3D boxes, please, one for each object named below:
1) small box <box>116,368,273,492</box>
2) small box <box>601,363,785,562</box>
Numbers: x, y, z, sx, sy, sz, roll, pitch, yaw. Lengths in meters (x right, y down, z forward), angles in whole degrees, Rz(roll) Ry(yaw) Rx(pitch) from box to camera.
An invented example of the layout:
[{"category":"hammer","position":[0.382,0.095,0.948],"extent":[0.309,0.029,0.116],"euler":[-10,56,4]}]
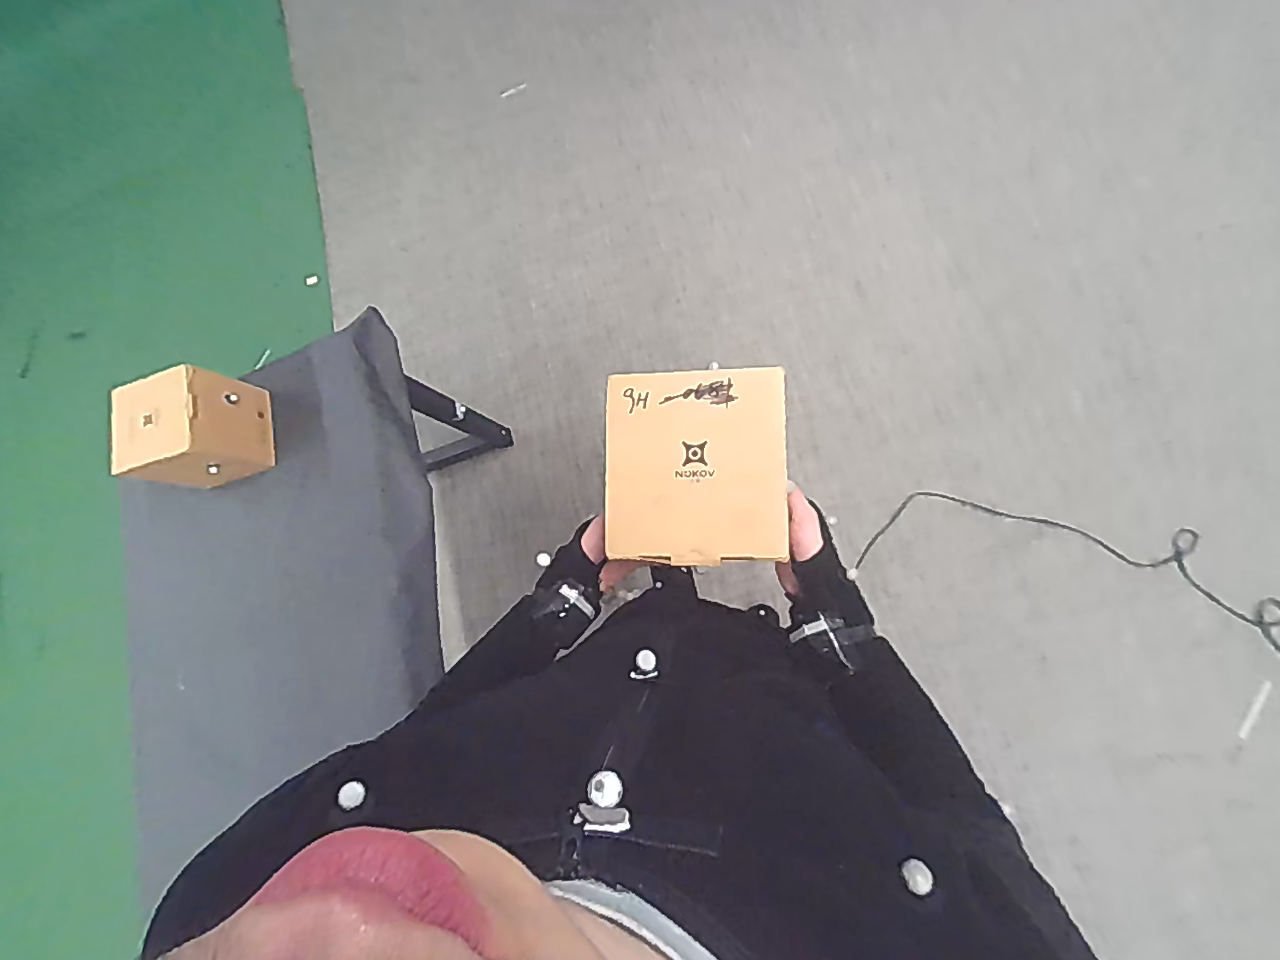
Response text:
[{"category":"small box","position":[-0.830,-0.086,1.023],"extent":[0.179,0.176,0.168],"euler":[-16,75,12]},{"category":"small box","position":[0.059,-0.009,0.559],"extent":[0.168,0.176,0.179],"euler":[-1,83,9]}]
